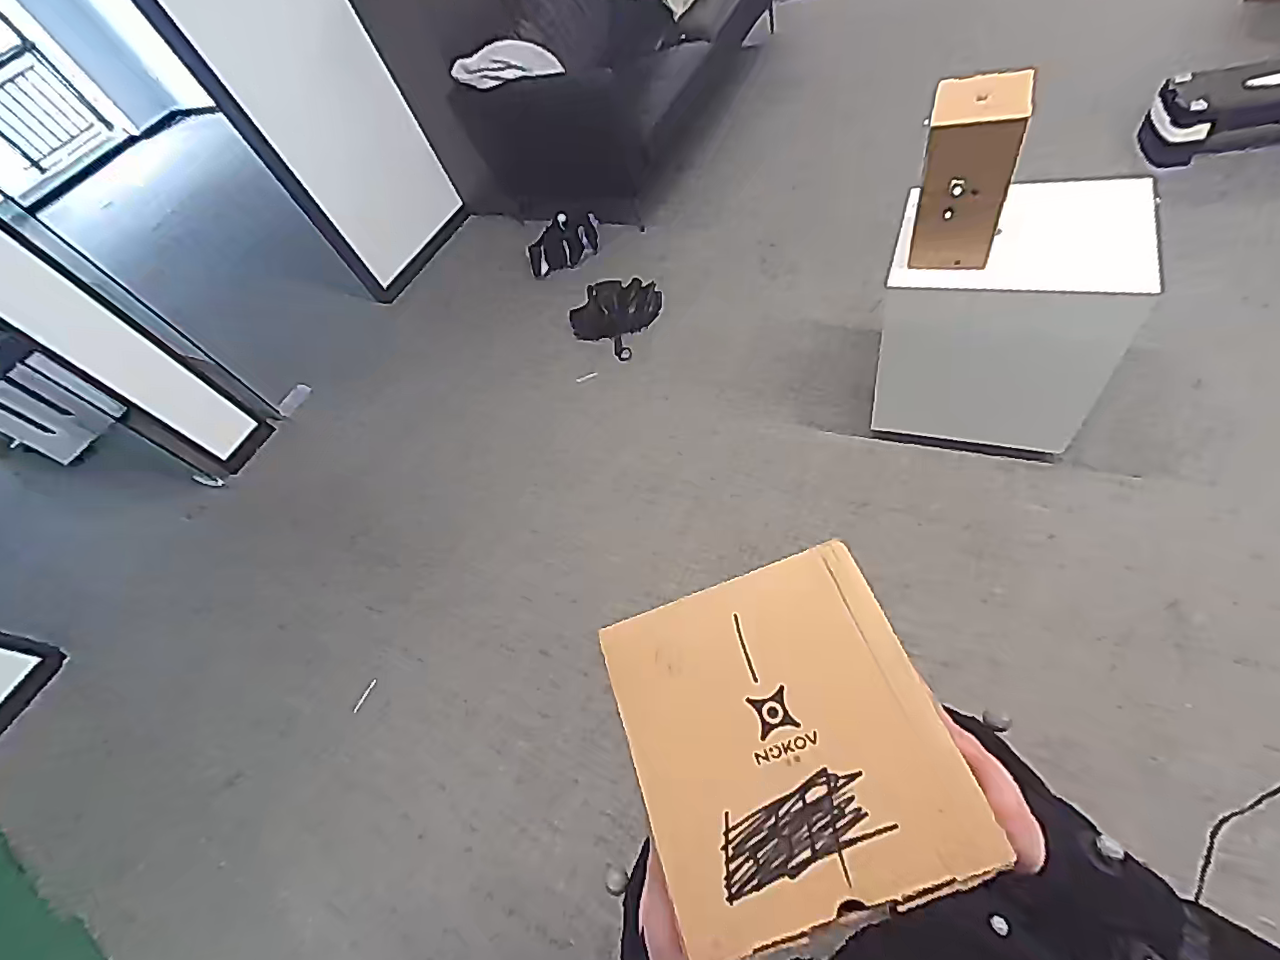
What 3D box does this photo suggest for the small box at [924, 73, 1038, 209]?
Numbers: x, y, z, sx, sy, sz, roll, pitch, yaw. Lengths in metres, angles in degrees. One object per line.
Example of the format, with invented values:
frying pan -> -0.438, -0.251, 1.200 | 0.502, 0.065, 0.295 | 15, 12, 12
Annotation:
small box -> 0.687, -0.682, 1.102 | 0.168, 0.176, 0.179 | 9, 61, 25

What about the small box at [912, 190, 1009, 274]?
small box -> 0.732, -0.599, 1.235 | 0.168, 0.176, 0.179 | 11, 60, 25
